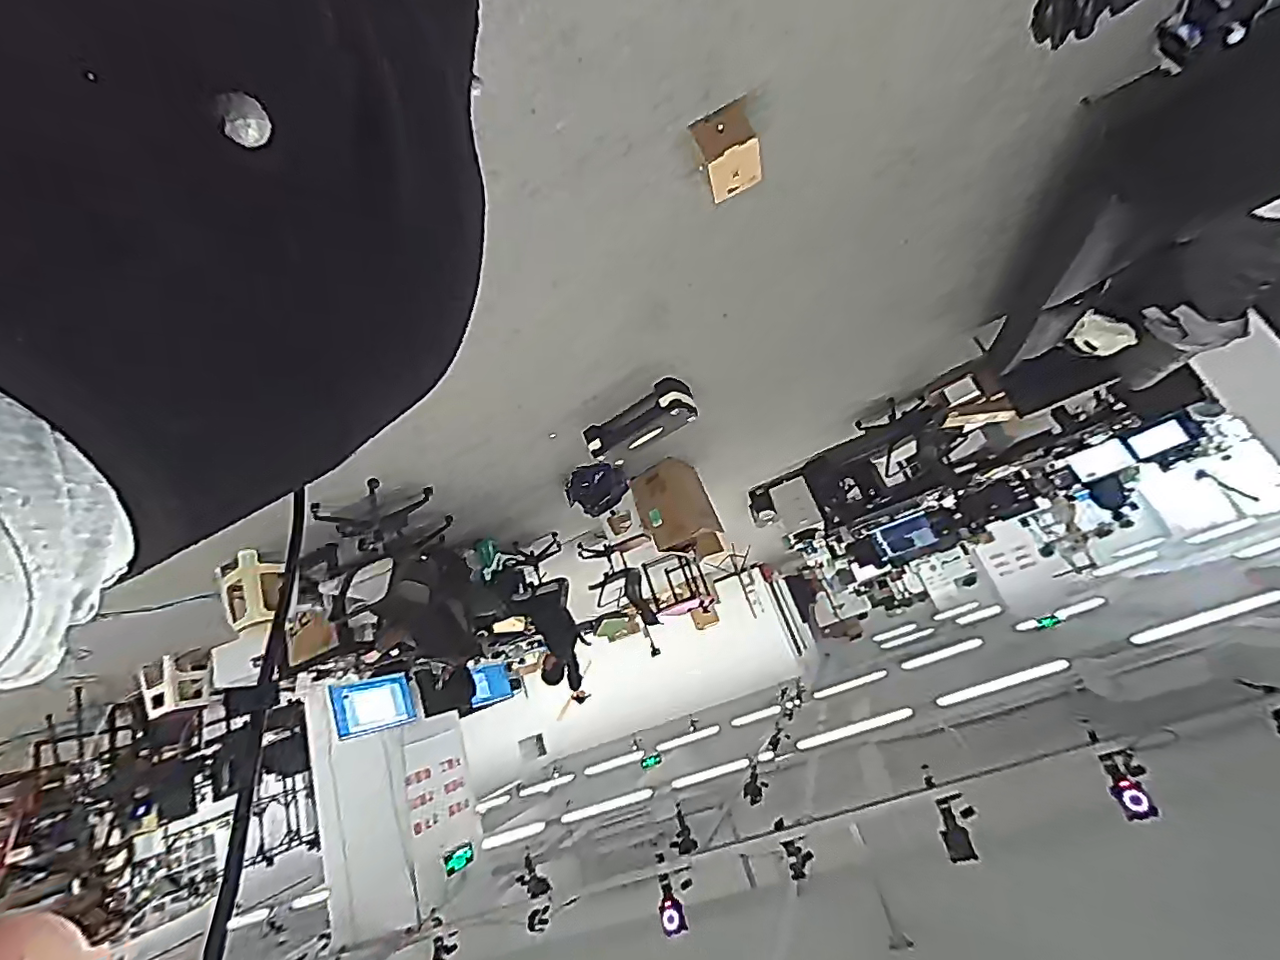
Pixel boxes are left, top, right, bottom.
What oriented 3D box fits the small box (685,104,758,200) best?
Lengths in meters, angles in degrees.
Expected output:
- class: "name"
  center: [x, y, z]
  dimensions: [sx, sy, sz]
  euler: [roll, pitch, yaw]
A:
- class: "small box"
  center: [0.259, -1.049, 1.719]
  dimensions: [0.168, 0.176, 0.179]
  euler: [-25, 160, 10]
